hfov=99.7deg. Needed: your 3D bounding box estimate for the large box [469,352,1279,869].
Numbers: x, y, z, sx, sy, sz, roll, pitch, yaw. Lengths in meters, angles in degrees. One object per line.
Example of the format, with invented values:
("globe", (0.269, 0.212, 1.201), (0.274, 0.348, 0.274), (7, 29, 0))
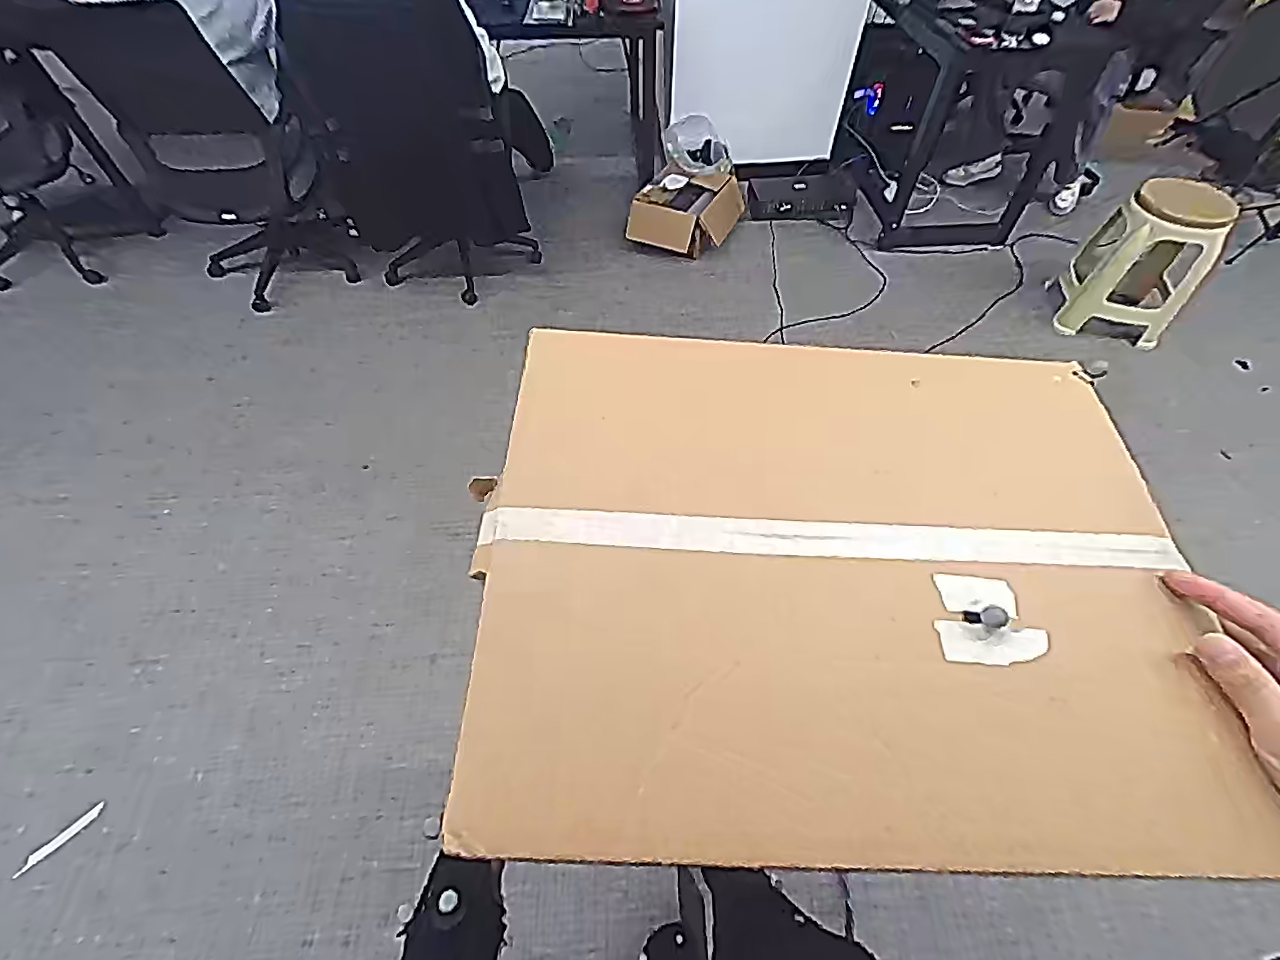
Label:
("large box", (0.107, 0.121, 0.455), (0.408, 0.320, 0.320), (3, 60, -3))
